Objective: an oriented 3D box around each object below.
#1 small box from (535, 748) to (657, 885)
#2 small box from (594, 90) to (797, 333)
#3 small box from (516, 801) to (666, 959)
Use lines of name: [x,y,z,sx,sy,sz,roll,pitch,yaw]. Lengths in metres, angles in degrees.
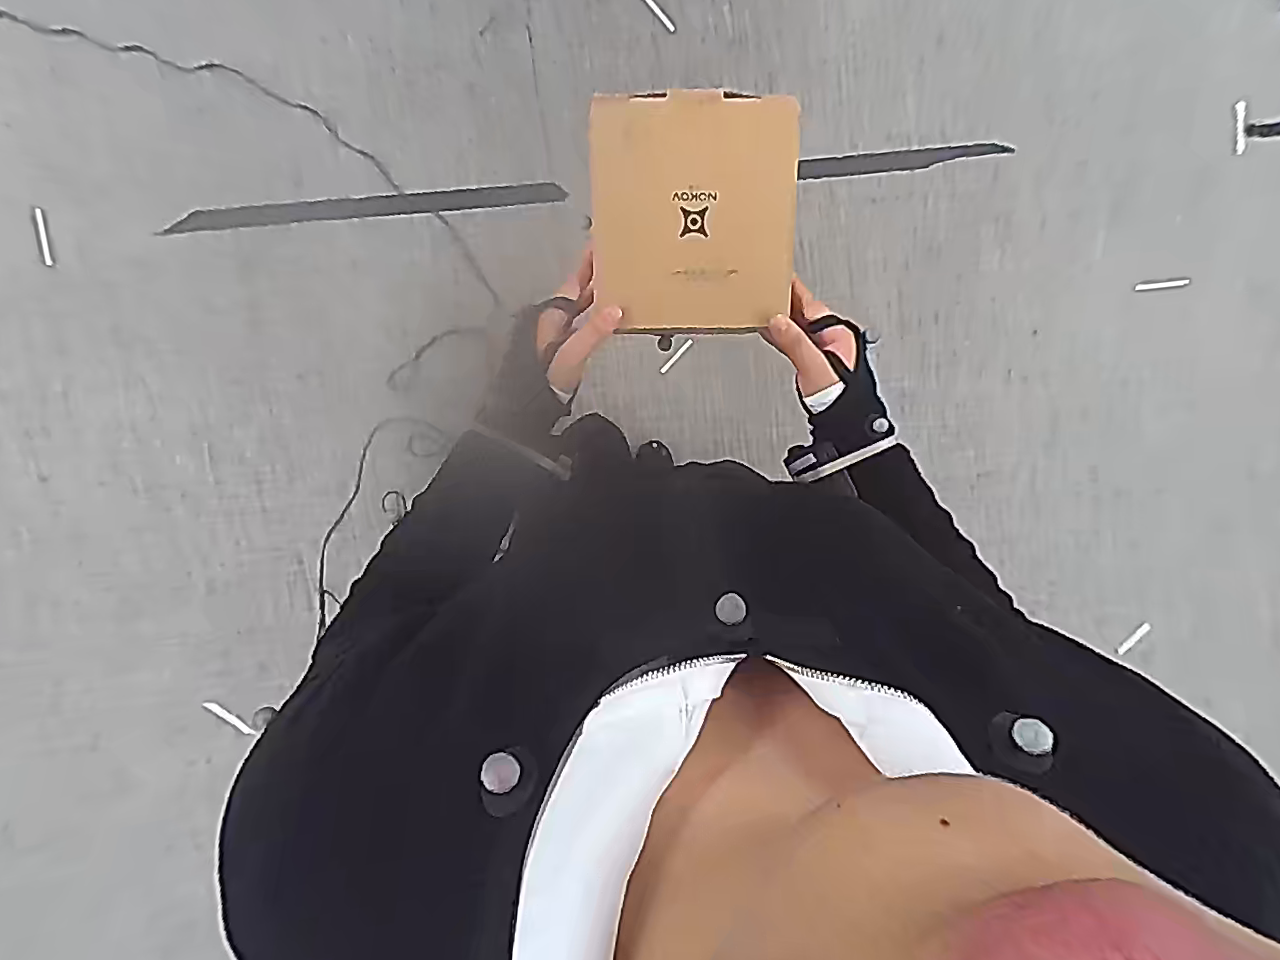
small box: [-0.073,0.624,0.984,0.179,0.176,0.168,-15,93,0]
small box: [0.040,-0.237,0.519,0.168,0.176,0.179,-1,103,-2]
small box: [-0.069,0.626,0.818,0.179,0.176,0.168,-15,92,0]
